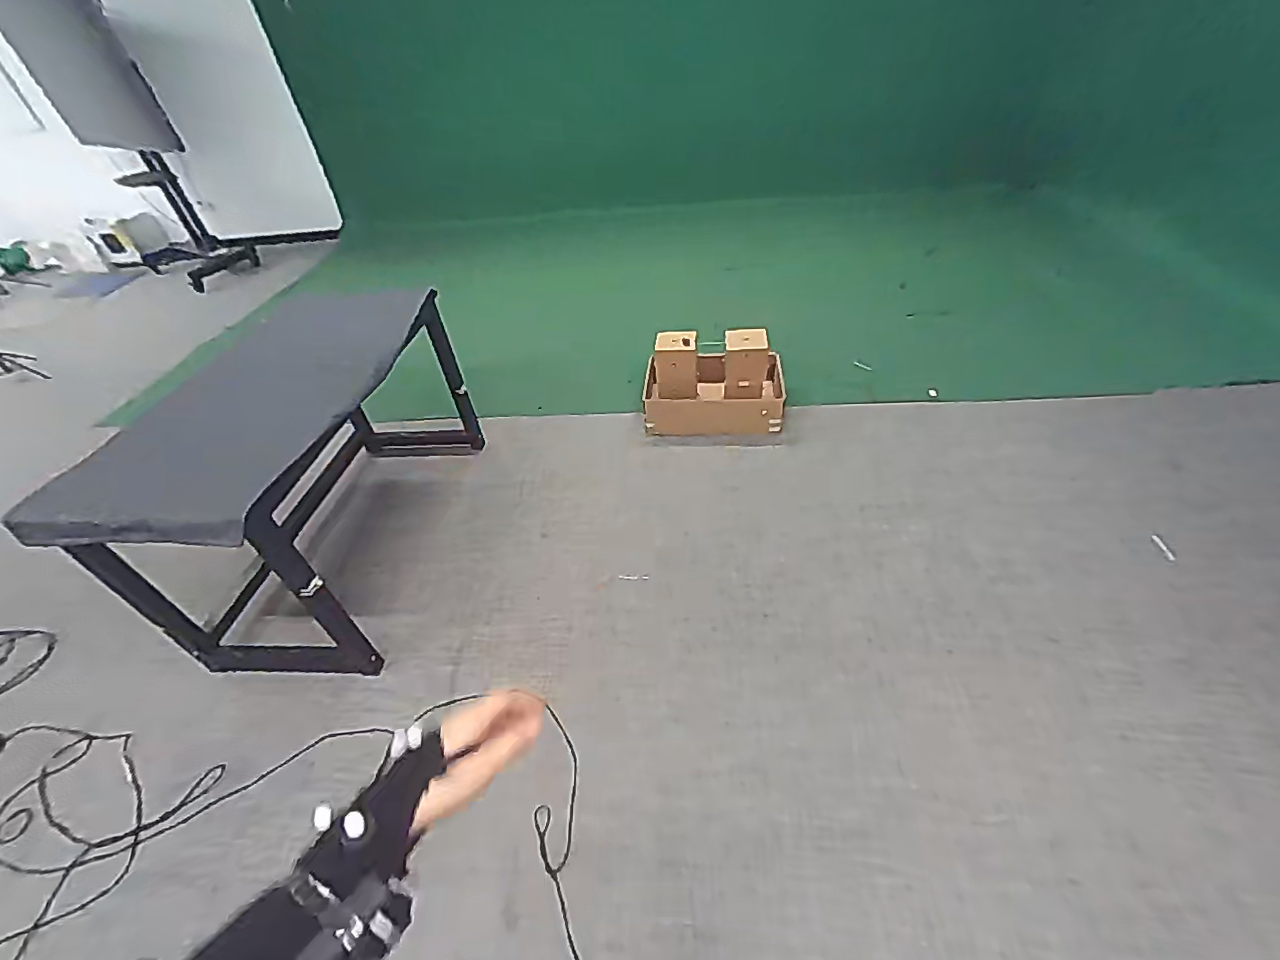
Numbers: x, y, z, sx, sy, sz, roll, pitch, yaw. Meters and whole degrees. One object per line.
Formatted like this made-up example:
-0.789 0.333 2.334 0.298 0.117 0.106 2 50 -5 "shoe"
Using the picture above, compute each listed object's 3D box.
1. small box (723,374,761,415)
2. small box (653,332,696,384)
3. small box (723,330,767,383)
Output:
0.462 -0.410 2.456 0.168 0.176 0.179 1 44 9 "small box"
0.157 -0.536 2.383 0.179 0.176 0.168 1 43 8 "small box"
0.454 -0.535 2.351 0.179 0.176 0.168 -1 44 6 "small box"
